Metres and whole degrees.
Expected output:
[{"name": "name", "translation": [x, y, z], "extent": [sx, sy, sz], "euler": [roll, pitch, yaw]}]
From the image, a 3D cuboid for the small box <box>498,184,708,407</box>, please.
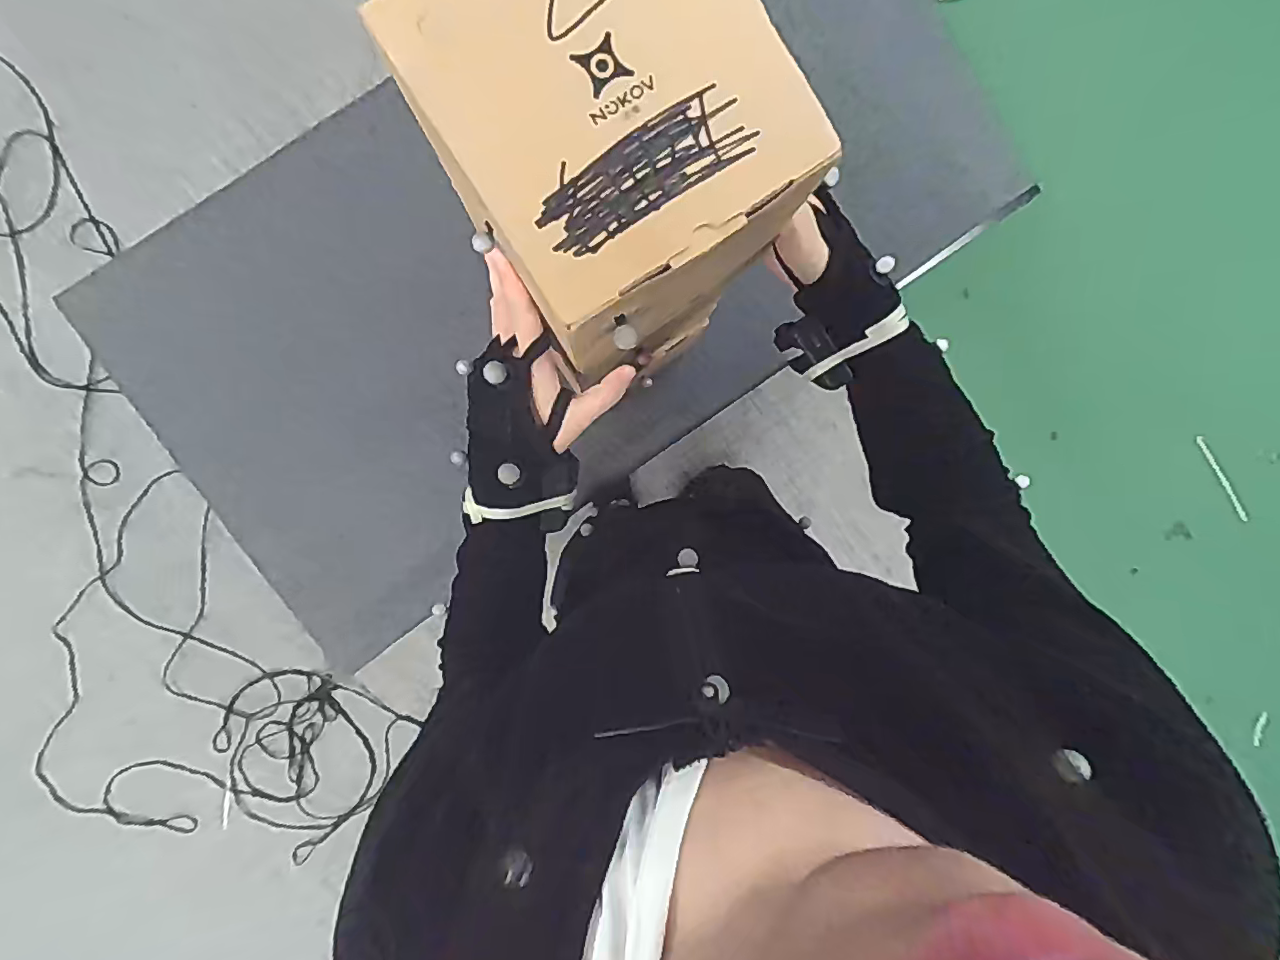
[{"name": "small box", "translation": [-0.045, -0.206, 0.658], "extent": [0.168, 0.176, 0.179], "euler": [-34, 94, -1]}]
